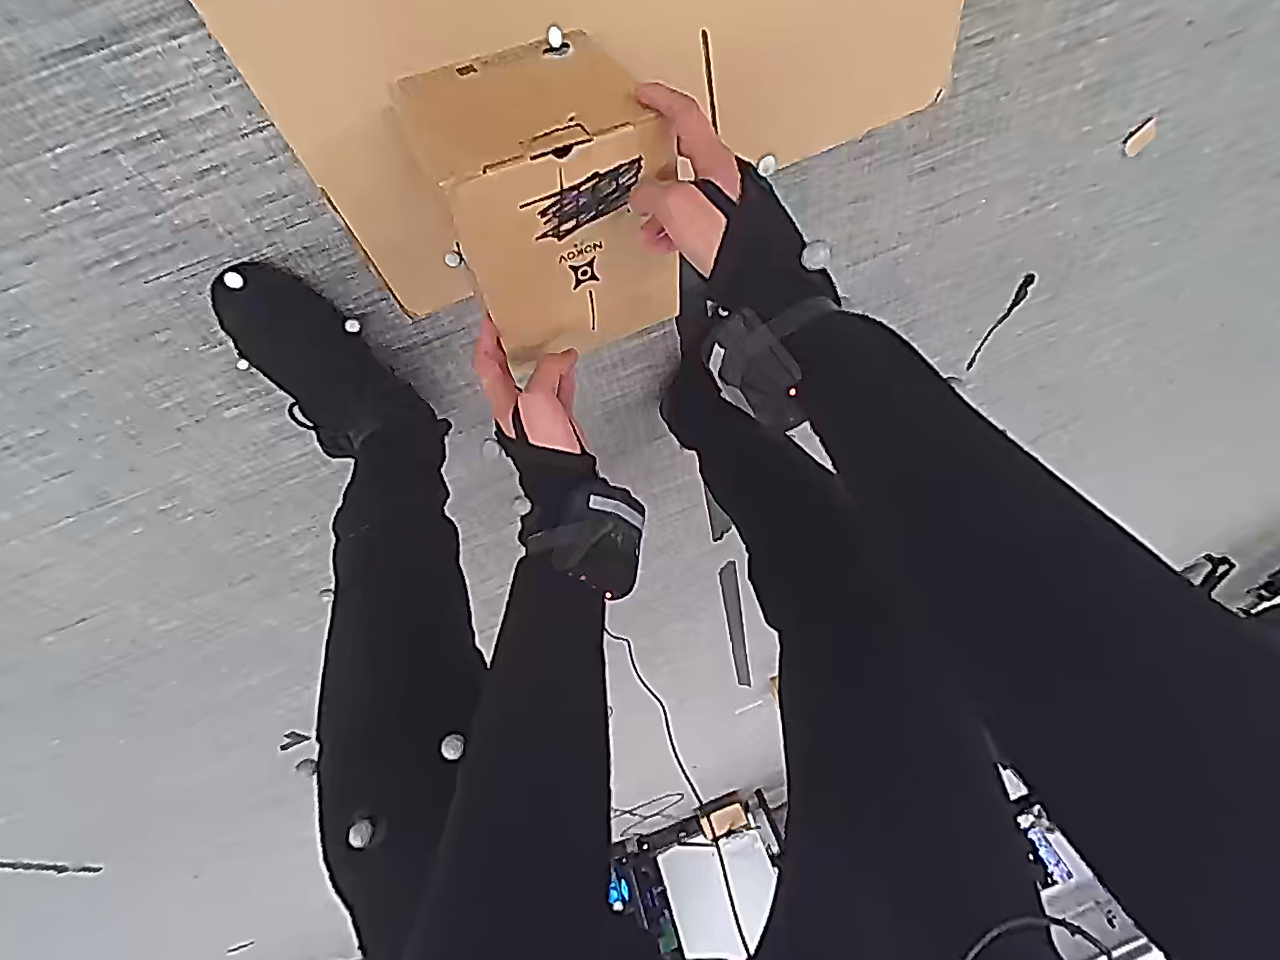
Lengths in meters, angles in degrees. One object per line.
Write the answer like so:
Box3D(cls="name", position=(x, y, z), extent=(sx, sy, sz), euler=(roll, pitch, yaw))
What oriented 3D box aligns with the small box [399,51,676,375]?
Box3D(cls="small box", position=(-0.081, -0.229, 0.462), extent=(0.168, 0.176, 0.179), euler=(-24, 149, -9))
